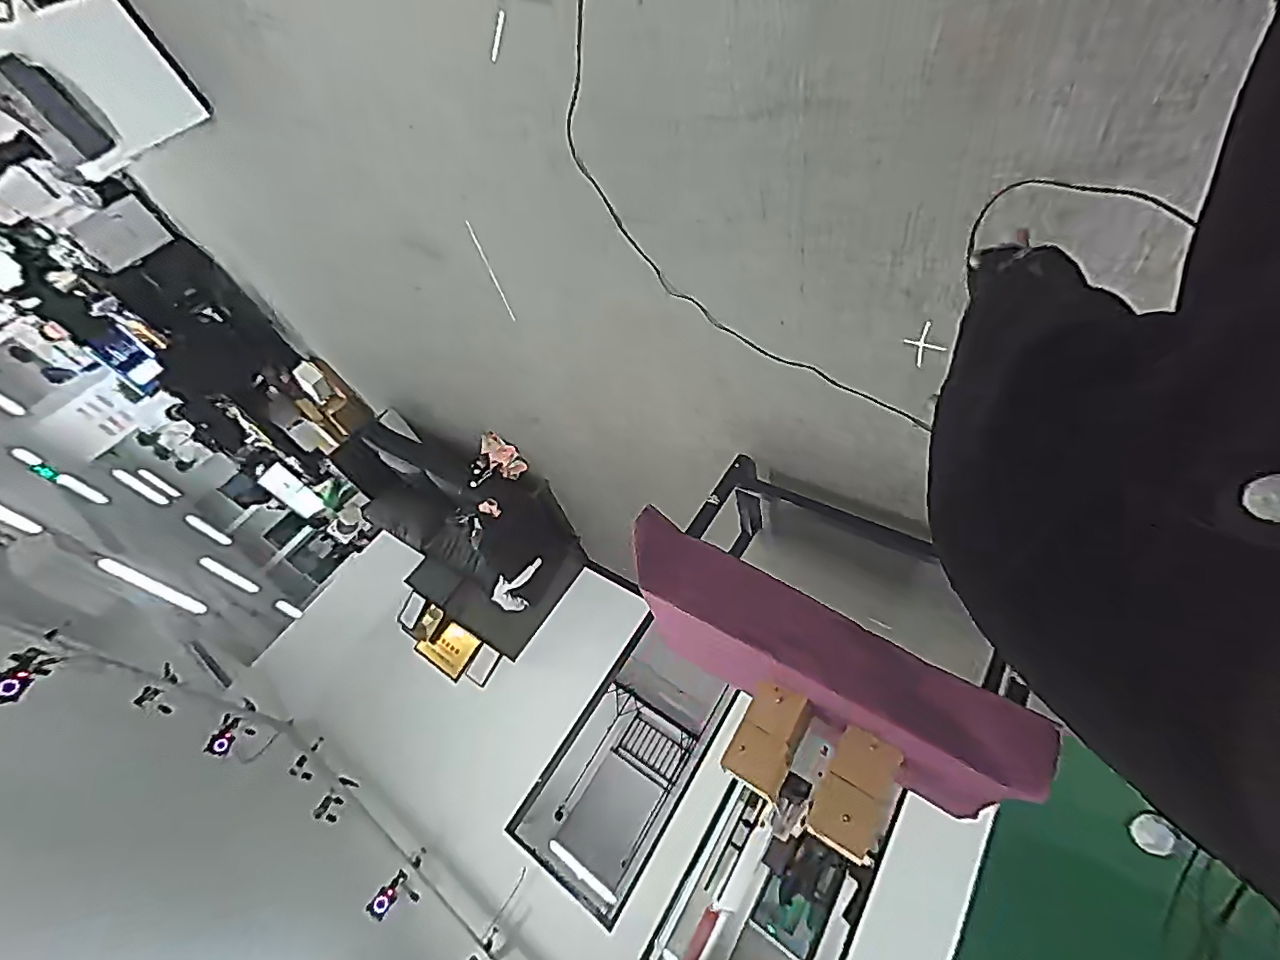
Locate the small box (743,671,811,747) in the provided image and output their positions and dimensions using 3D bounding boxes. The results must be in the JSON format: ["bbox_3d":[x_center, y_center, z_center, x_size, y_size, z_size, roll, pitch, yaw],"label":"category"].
[{"bbox_3d":[0.491,0.811,1.915,0.168,0.176,0.179,18,149,36],"label":"small box"}]

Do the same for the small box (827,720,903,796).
[{"bbox_3d":[0.727,0.907,1.758,0.179,0.176,0.168,22,152,32],"label":"small box"}]

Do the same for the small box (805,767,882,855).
[{"bbox_3d":[0.634,1.026,1.692,0.179,0.176,0.168,21,151,31],"label":"small box"}]

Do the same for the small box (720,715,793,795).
[{"bbox_3d":[0.401,0.929,1.845,0.179,0.176,0.168,19,151,34],"label":"small box"}]
